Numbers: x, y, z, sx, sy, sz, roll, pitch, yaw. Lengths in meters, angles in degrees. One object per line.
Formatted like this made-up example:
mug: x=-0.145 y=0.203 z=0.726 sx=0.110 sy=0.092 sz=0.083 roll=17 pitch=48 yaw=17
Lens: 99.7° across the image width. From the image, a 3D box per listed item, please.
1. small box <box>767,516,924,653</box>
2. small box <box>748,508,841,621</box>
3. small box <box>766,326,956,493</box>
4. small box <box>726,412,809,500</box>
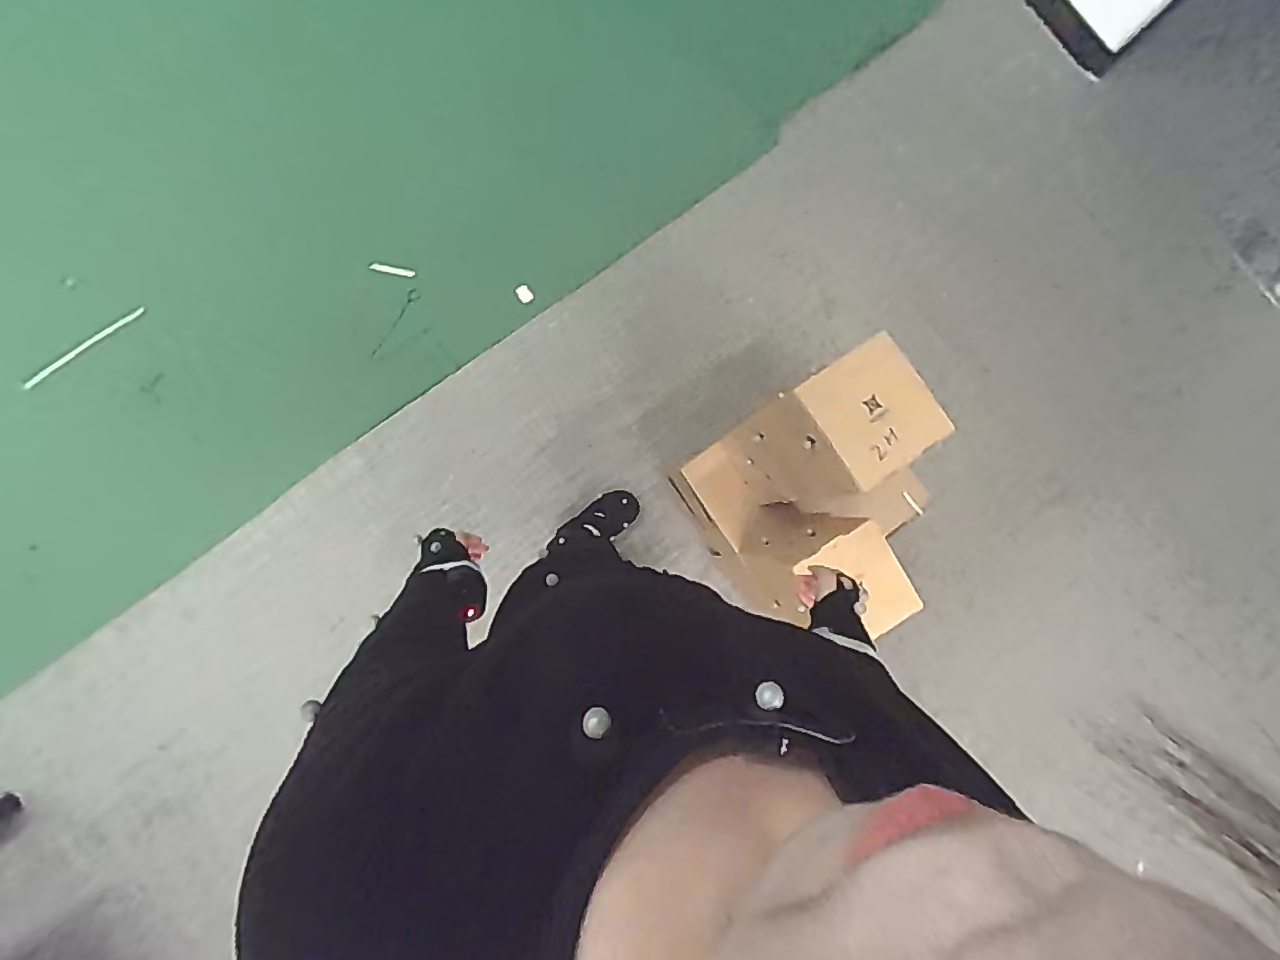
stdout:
small box: x=0.356 y=0.175 z=0.970 sx=0.168 sy=0.176 sz=0.179 roll=-30 pitch=89 yaw=-6
small box: x=0.346 y=0.173 z=1.133 sx=0.179 sy=0.176 sz=0.168 roll=-30 pitch=89 yaw=-7
small box: x=0.319 y=-0.094 z=0.821 sx=0.168 sy=0.176 sz=0.179 roll=-33 pitch=87 yaw=-6
small box: x=0.309 y=-0.072 z=1.151 sx=0.179 sy=0.176 sz=0.168 roll=-31 pitch=87 yaw=-7
